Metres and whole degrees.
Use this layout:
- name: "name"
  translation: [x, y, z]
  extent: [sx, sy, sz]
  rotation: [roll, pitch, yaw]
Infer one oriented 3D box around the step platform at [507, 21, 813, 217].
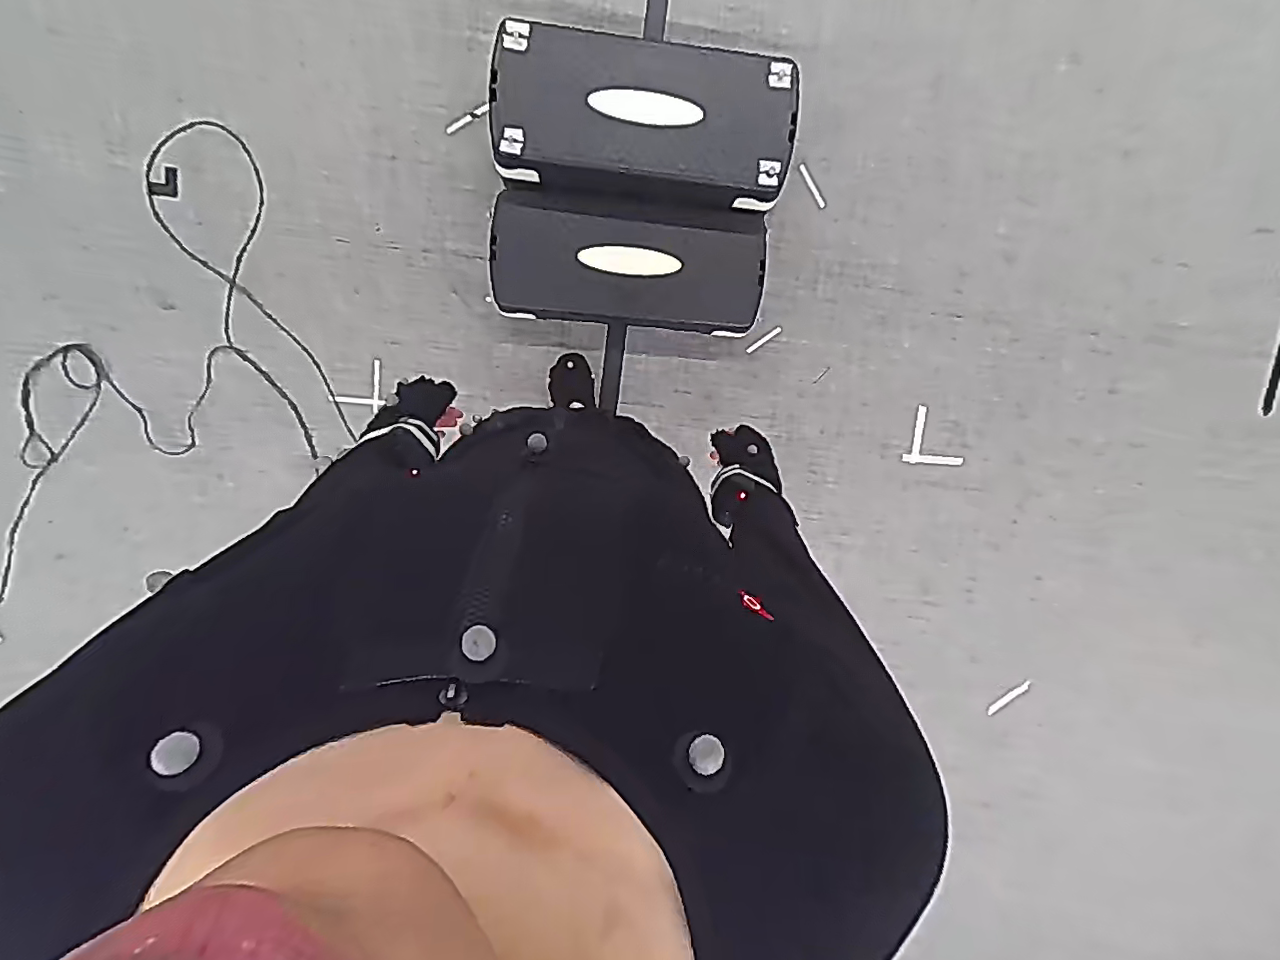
- name: "step platform"
  translation: [0.042, -0.815, 1.249]
  extent: [0.684, 0.204, 0.286]
  rotation: [4, 99, -4]
